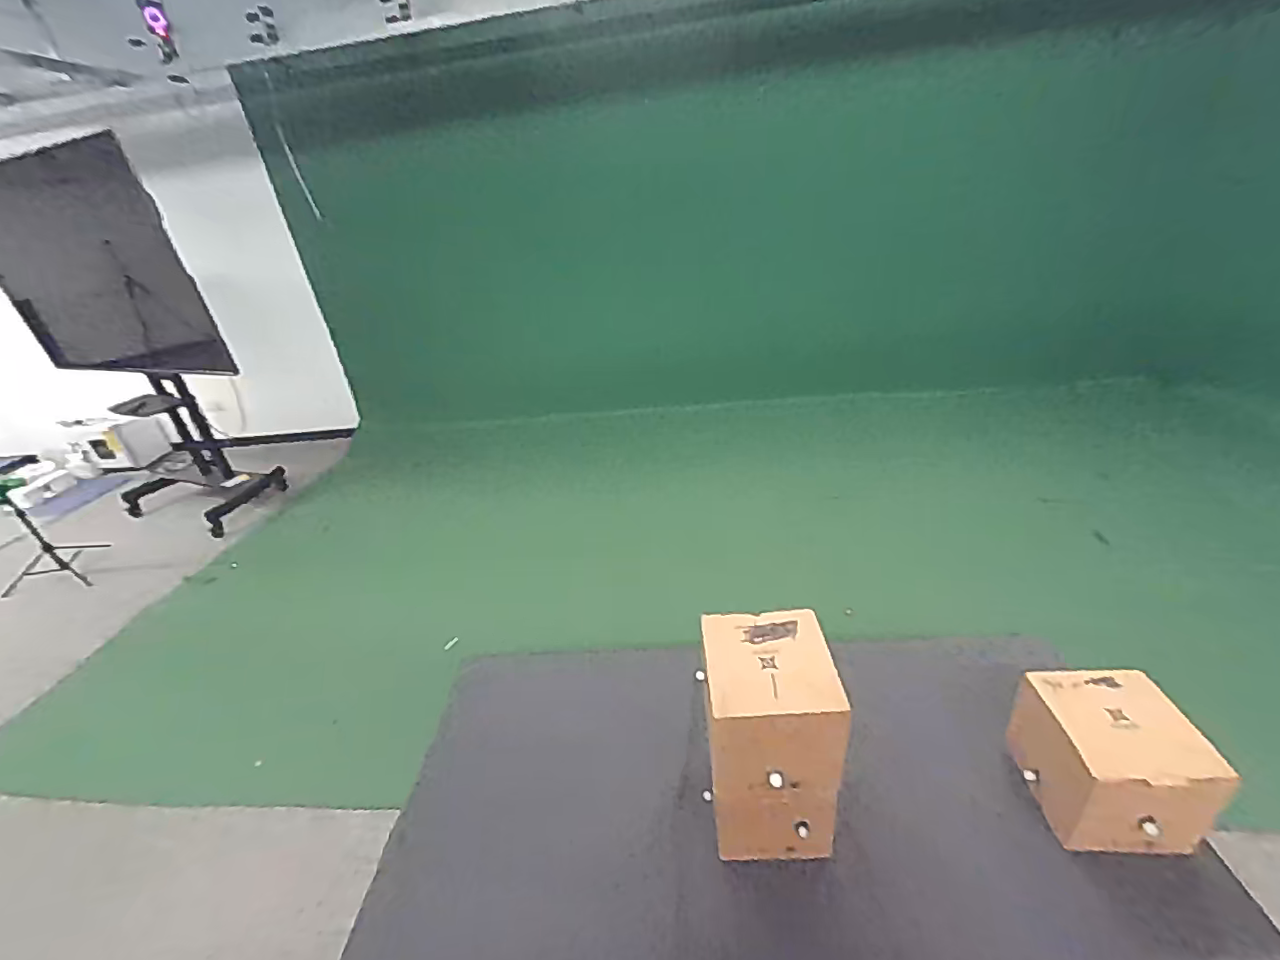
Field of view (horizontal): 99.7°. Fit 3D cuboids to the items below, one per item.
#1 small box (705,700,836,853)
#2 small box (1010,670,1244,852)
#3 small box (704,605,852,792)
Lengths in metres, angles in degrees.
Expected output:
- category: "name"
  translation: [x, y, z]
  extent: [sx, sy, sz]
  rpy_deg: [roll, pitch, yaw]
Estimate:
- category: "small box"
  translation: [0.189, 0.438, 0.824]
  extent: [0.168, 0.176, 0.179]
  rpy_deg: [-3, 28, 4]
- category: "small box"
  translation: [0.672, 0.400, 0.777]
  extent: [0.168, 0.176, 0.179]
  rpy_deg: [-3, 29, 8]
- category: "small box"
  translation: [0.175, 0.295, 0.743]
  extent: [0.168, 0.176, 0.179]
  rpy_deg: [-4, 30, 4]
